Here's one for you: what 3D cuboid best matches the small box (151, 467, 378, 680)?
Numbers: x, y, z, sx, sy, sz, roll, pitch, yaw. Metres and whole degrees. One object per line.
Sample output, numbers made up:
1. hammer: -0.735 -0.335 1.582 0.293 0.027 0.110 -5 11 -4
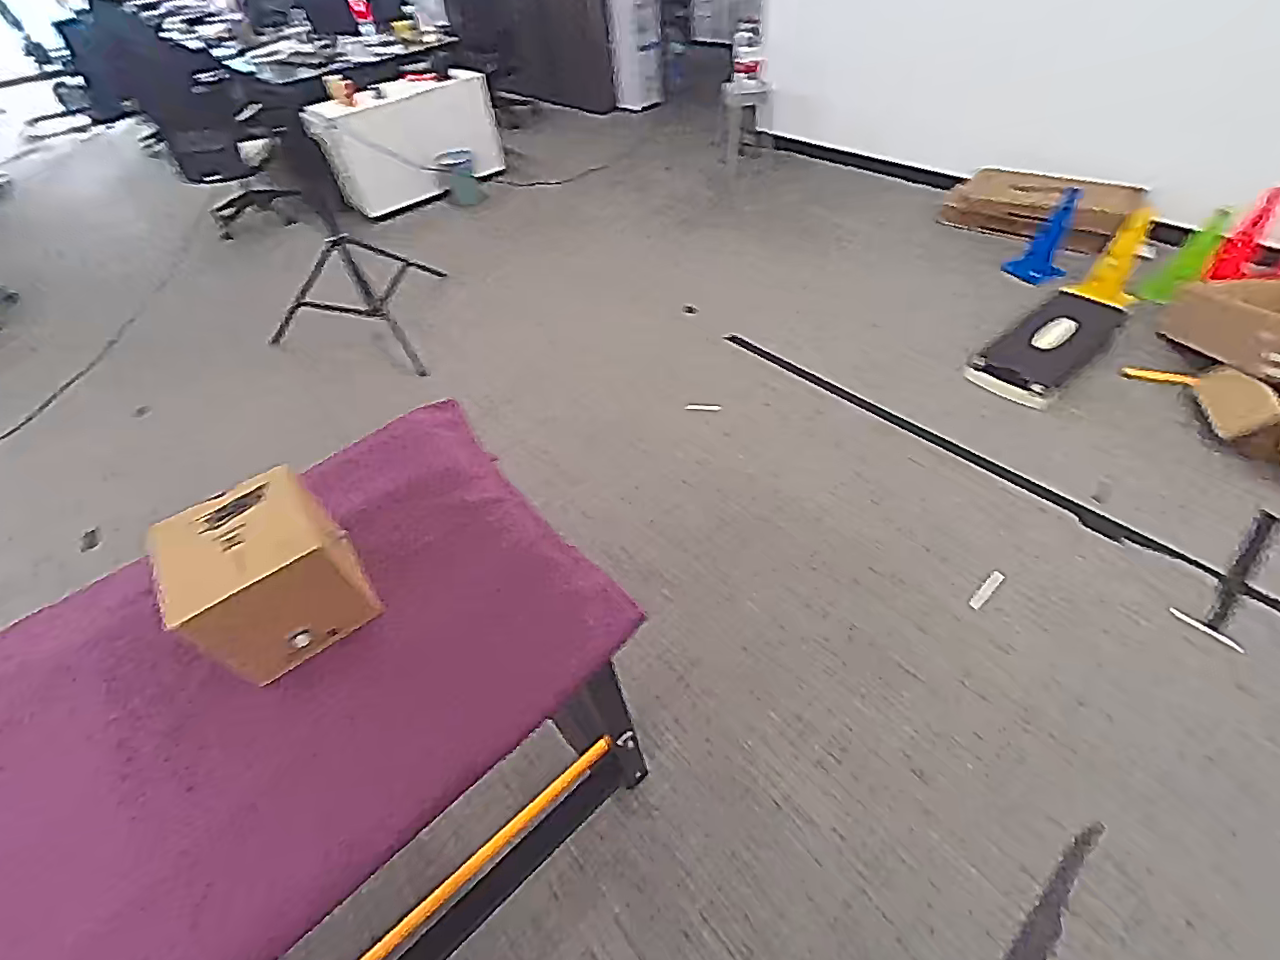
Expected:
1. small box: -0.478 0.122 0.704 0.168 0.176 0.179 -33 54 -21
